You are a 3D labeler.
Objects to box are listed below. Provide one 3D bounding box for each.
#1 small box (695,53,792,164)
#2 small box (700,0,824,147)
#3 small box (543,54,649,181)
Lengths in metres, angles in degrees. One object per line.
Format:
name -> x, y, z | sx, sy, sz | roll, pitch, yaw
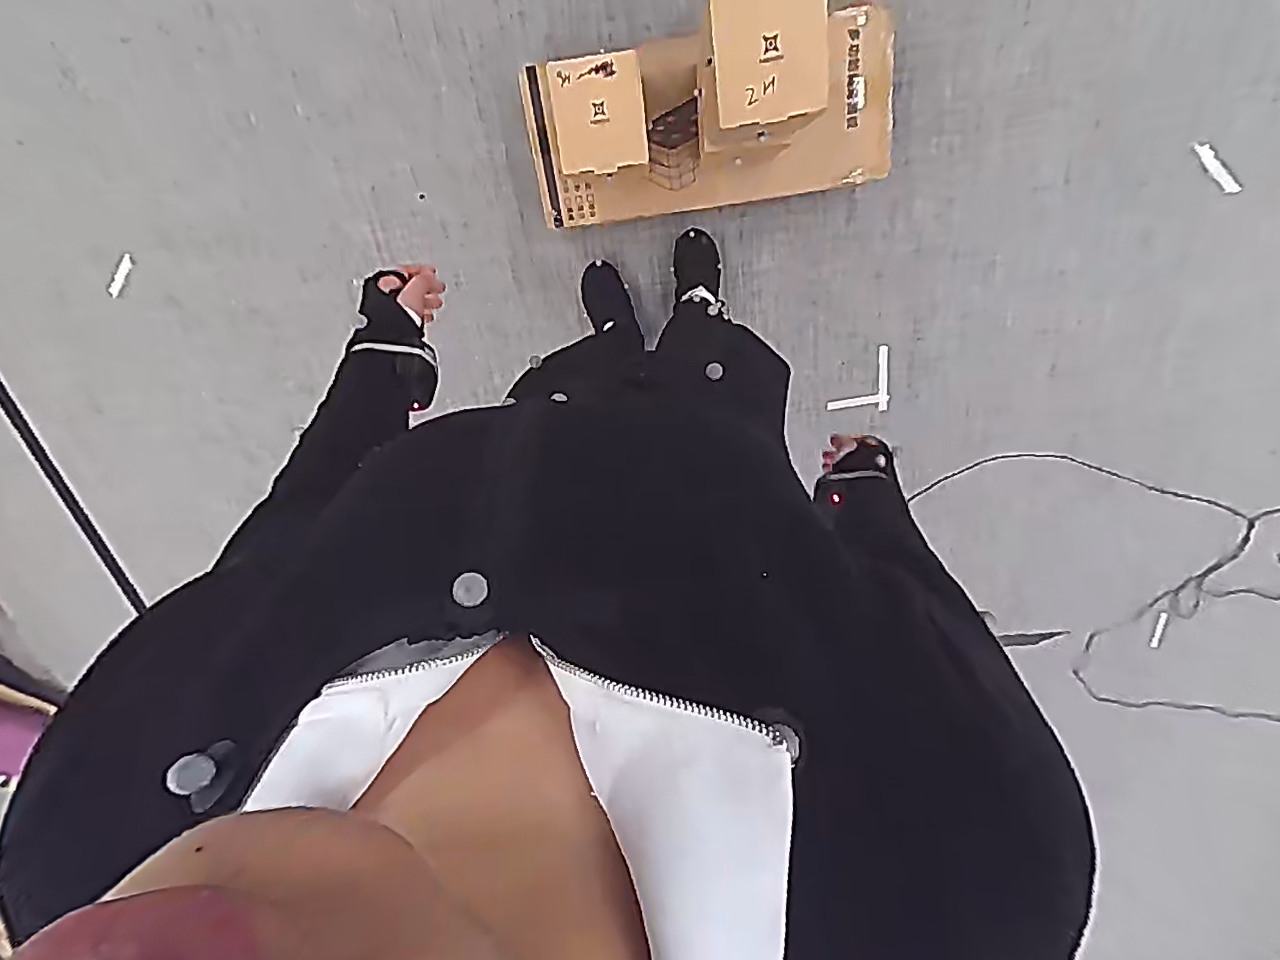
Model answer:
small box -> 0.192, -0.714, 1.024 | 0.168, 0.176, 0.179 | -3, 115, 4
small box -> 0.190, -0.659, 0.867 | 0.168, 0.176, 0.179 | -7, 114, 6
small box -> -0.075, -0.685, 1.045 | 0.168, 0.176, 0.179 | -5, 116, 6
